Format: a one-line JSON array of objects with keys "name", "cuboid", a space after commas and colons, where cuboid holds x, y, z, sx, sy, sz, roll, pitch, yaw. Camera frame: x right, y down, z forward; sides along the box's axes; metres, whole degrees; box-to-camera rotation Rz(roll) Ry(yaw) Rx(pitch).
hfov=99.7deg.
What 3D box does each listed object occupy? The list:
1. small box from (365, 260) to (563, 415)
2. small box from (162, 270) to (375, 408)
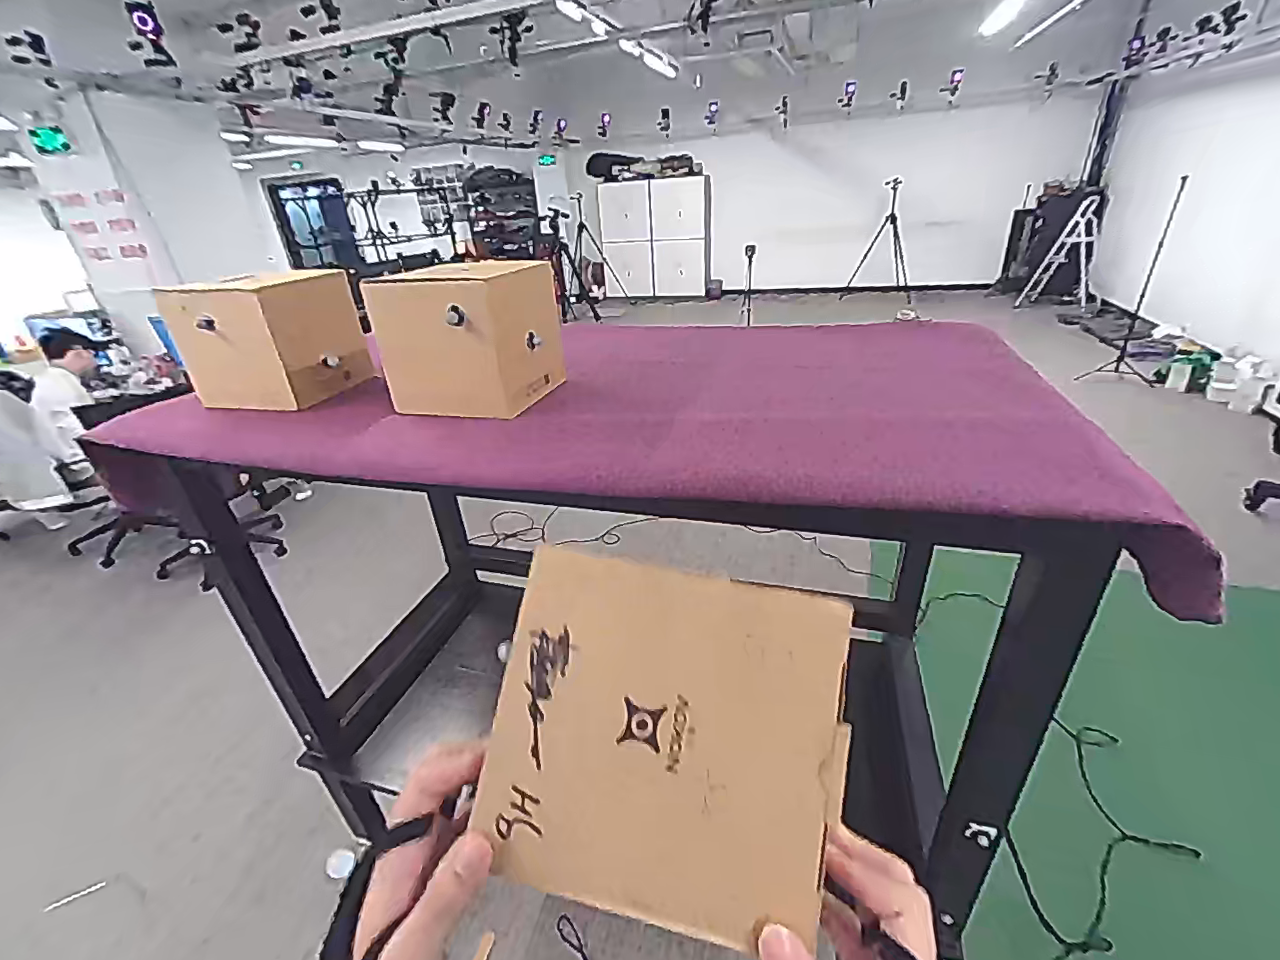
[{"name": "small box", "cuboid": [-0.218, -0.192, 0.721, 0.179, 0.176, 0.168, 5, 28, 18]}, {"name": "small box", "cuboid": [-0.537, -0.213, 0.808, 0.179, 0.176, 0.168, 4, 29, 14]}]
